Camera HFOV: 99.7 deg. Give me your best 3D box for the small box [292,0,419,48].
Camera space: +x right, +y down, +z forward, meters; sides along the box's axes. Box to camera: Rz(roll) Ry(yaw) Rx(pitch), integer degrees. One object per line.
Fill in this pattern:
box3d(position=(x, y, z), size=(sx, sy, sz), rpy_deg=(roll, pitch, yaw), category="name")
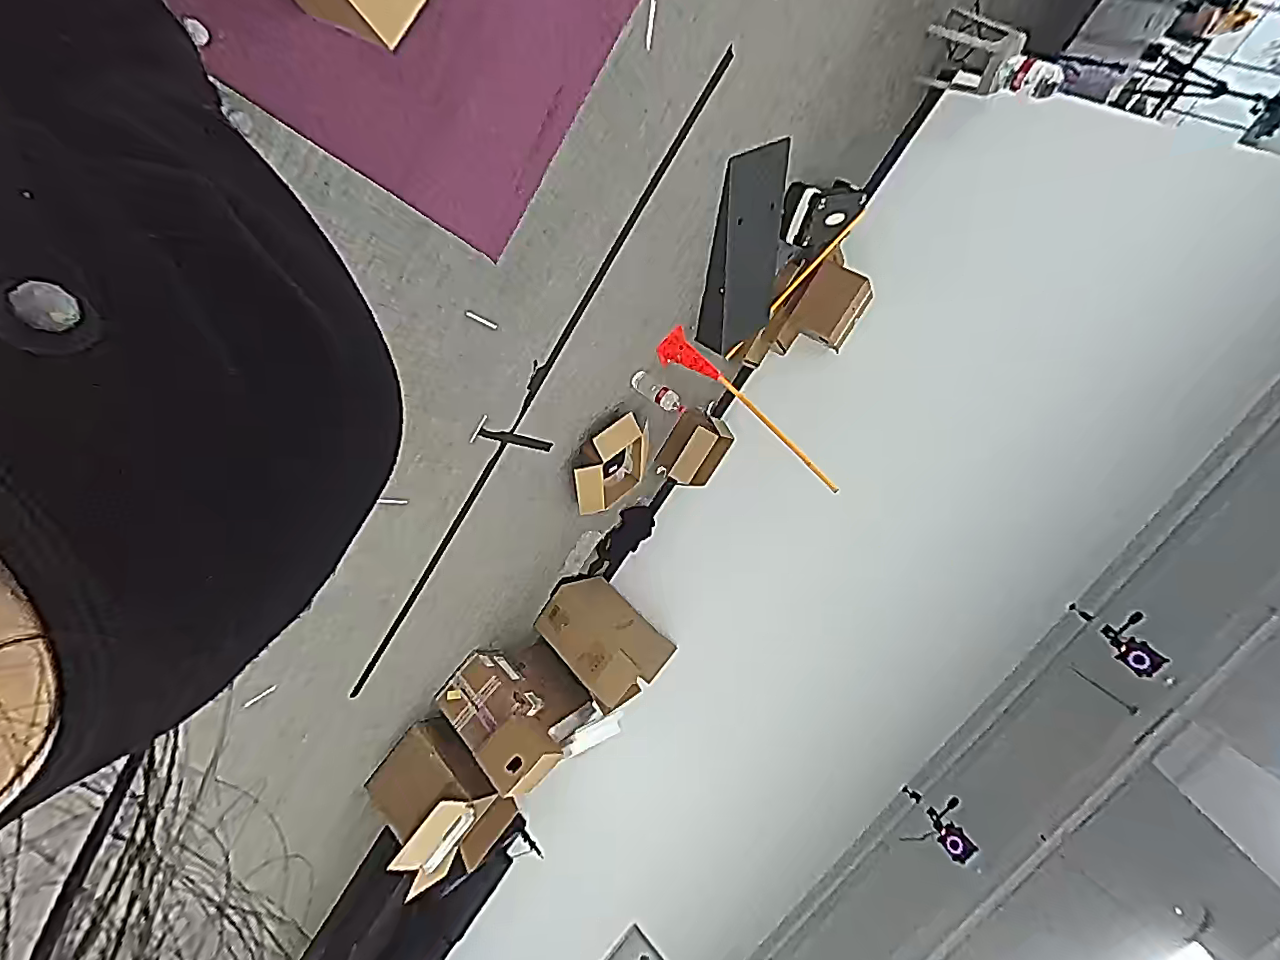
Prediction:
box3d(position=(-0.275, -0.532, 0.457), size=(0.179, 0.176, 0.168), rpy_deg=(-53, 157, 4), category="small box")
